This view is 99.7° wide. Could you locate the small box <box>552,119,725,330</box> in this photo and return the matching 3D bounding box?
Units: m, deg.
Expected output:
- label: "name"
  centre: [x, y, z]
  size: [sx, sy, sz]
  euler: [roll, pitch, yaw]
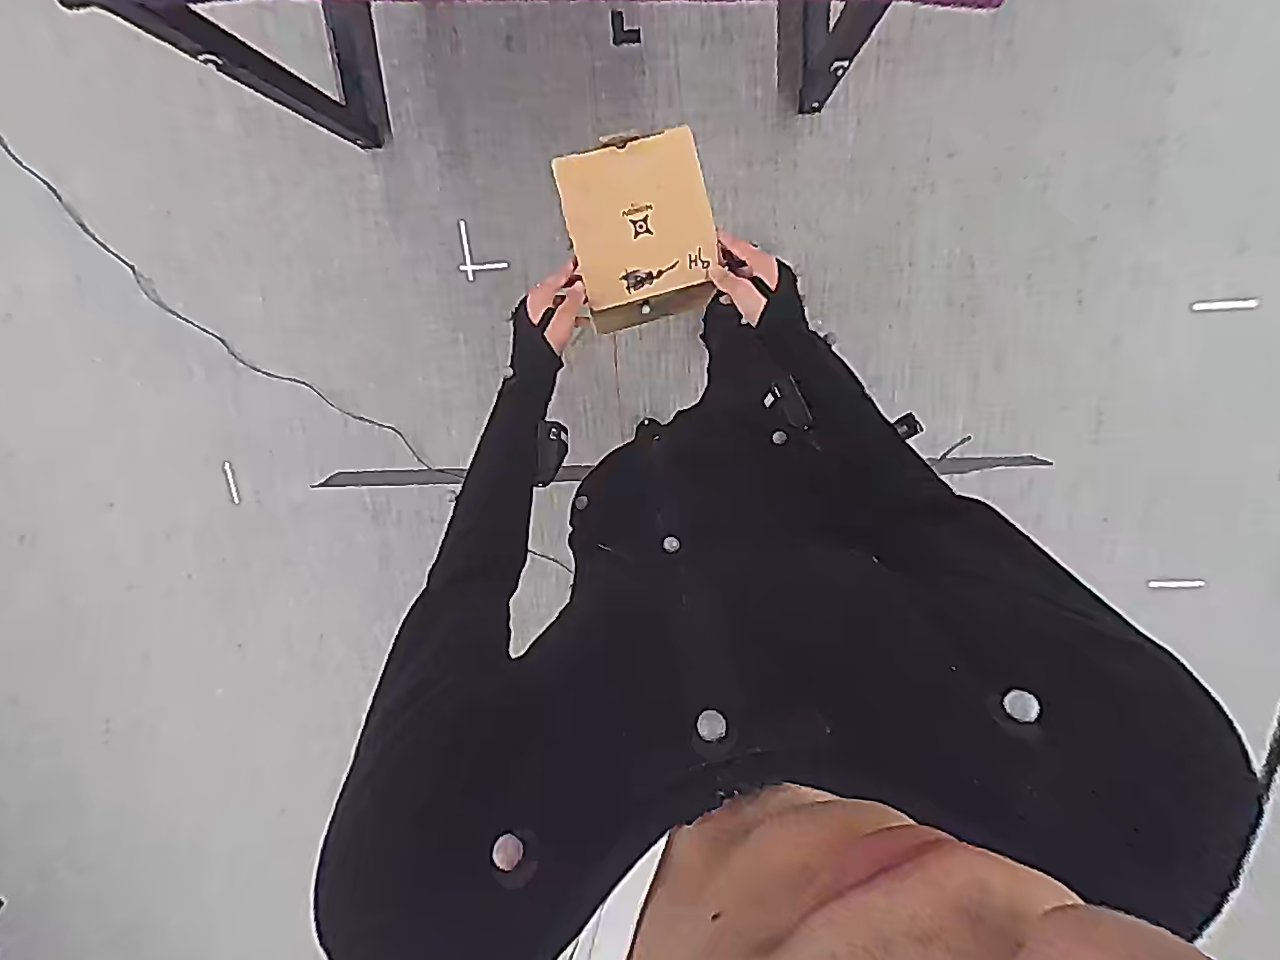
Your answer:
- label: "small box"
  centre: [-0.005, -0.311, 0.693]
  size: [0.168, 0.176, 0.179]
  euler: [-15, 96, -1]
